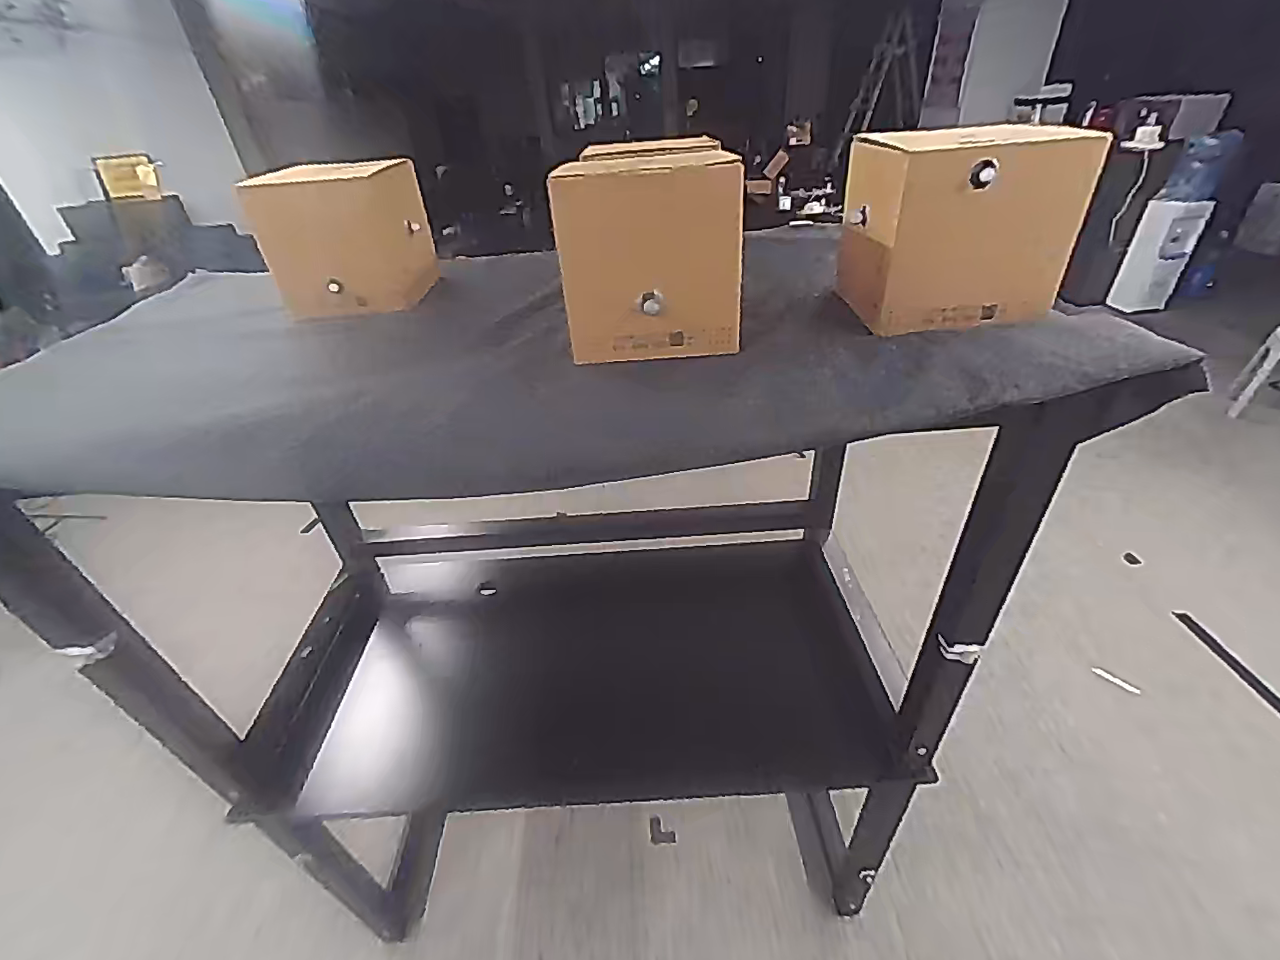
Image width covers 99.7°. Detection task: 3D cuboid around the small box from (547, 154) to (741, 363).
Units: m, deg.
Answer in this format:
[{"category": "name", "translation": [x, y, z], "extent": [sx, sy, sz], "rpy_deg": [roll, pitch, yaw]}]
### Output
[{"category": "small box", "translation": [0.010, -0.233, 0.563], "extent": [0.168, 0.176, 0.179], "rpy_deg": [-4, 34, 3]}]

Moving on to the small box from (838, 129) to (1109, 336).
[{"category": "small box", "translation": [0.317, -0.260, 0.566], "extent": [0.168, 0.176, 0.179], "rpy_deg": [-3, 34, 5]}]

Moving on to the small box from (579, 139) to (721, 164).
[{"category": "small box", "translation": [0.017, -0.376, 0.769], "extent": [0.179, 0.176, 0.168], "rpy_deg": [-3, 35, 3]}]
